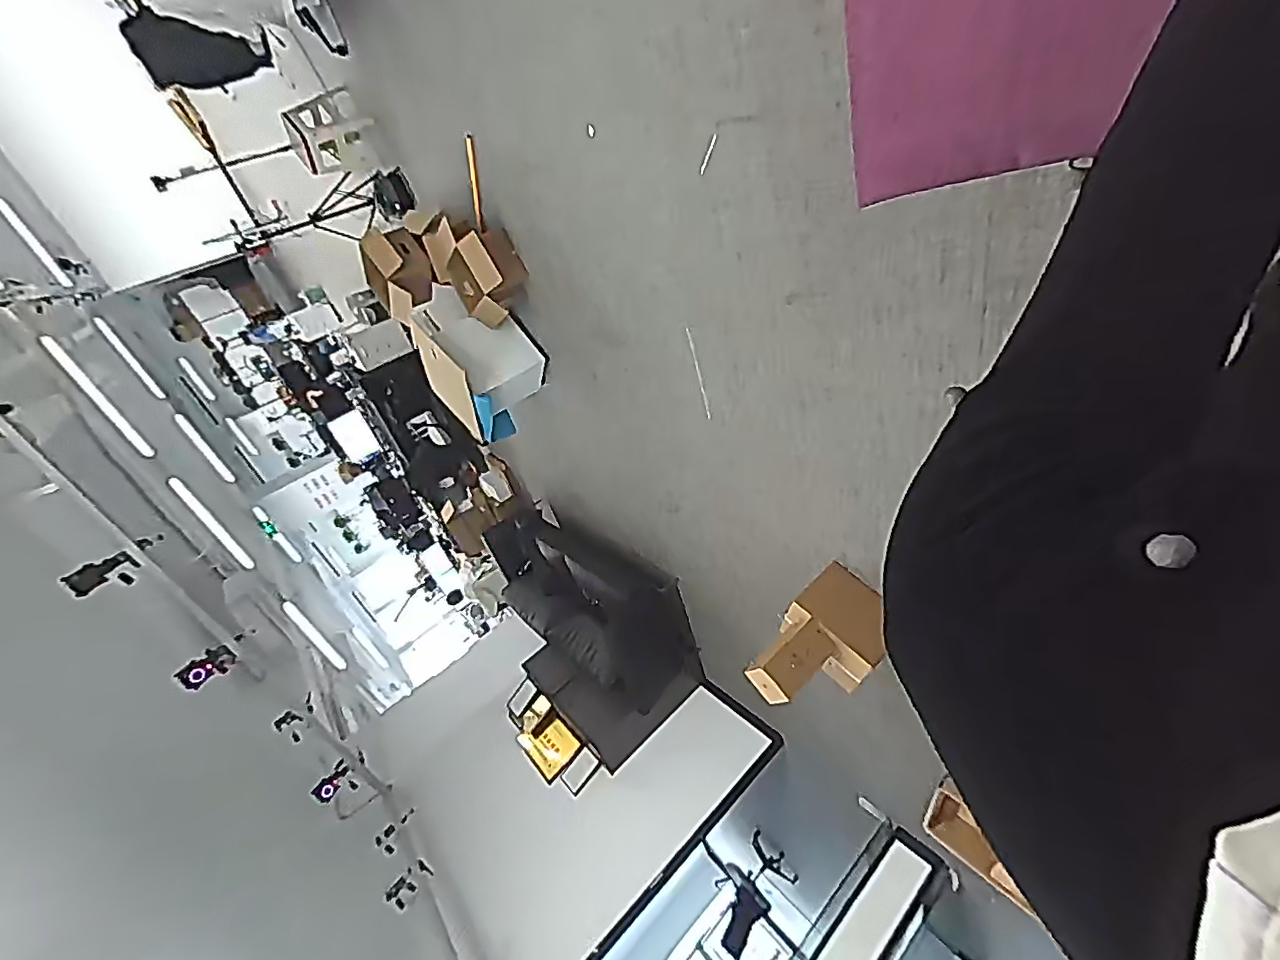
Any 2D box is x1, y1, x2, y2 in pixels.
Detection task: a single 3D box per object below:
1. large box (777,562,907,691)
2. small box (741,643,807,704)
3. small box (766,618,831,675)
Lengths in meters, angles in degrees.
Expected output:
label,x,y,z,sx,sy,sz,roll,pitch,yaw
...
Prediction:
label,x,y,z,sx,sy,sz,roll,pitch,yaw
large box,0.897,0.651,2.436,0.408,0.320,0.320,39,151,27
small box,0.558,0.802,2.244,0.168,0.176,0.179,49,152,10
small box,0.682,0.719,2.316,0.168,0.176,0.179,50,153,9
